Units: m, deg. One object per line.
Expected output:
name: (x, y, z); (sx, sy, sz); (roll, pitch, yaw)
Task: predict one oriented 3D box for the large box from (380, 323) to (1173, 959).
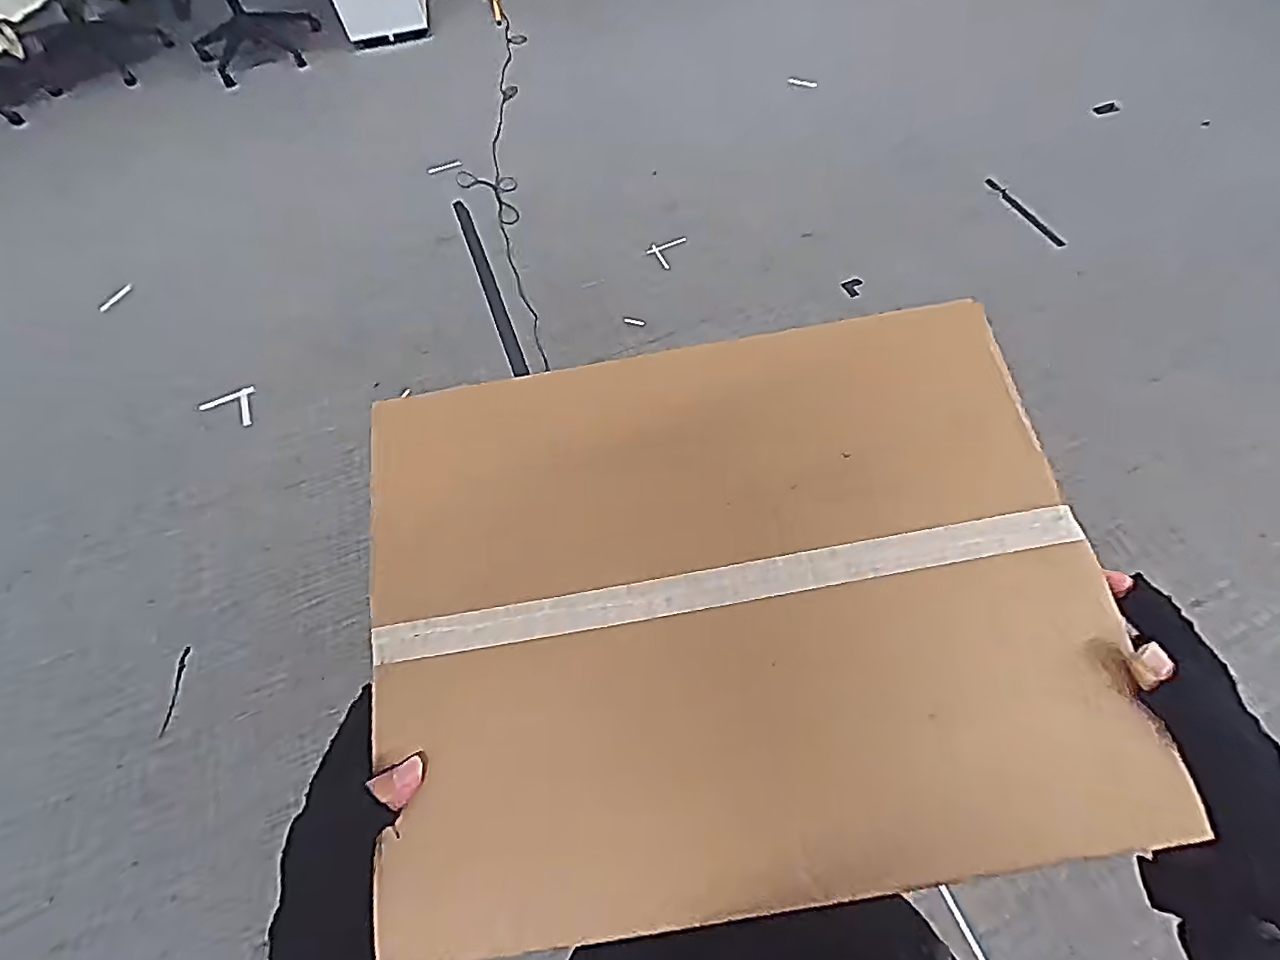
large box: (0.058, 0.119, 0.456); (0.408, 0.320, 0.320); (-11, 71, 1)
